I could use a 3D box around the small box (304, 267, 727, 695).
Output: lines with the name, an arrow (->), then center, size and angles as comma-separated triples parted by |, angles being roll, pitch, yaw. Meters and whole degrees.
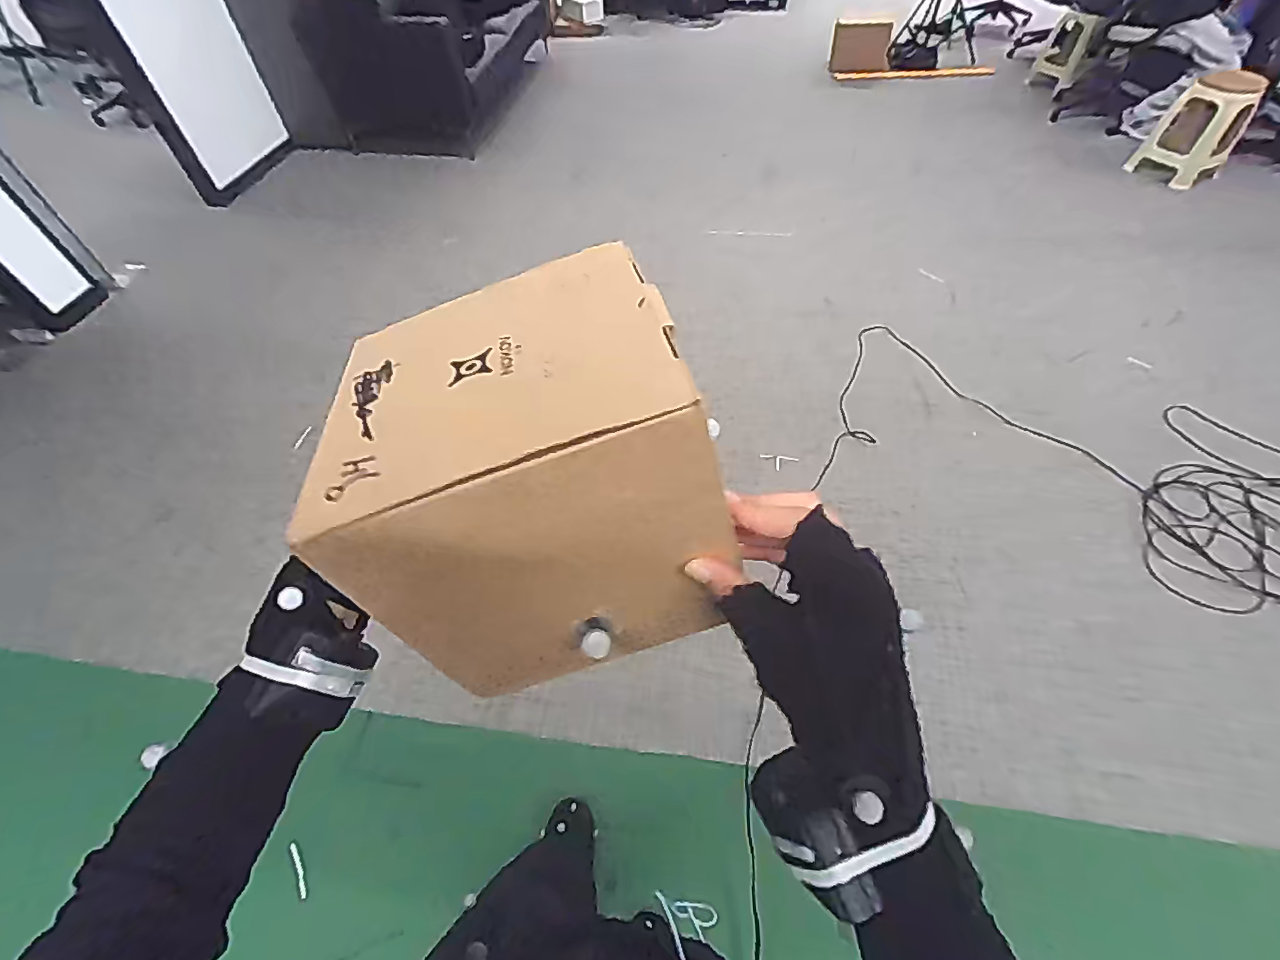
small box -> -0.053, 0.004, 0.333 | 0.179, 0.176, 0.168 | -18, 43, 2
